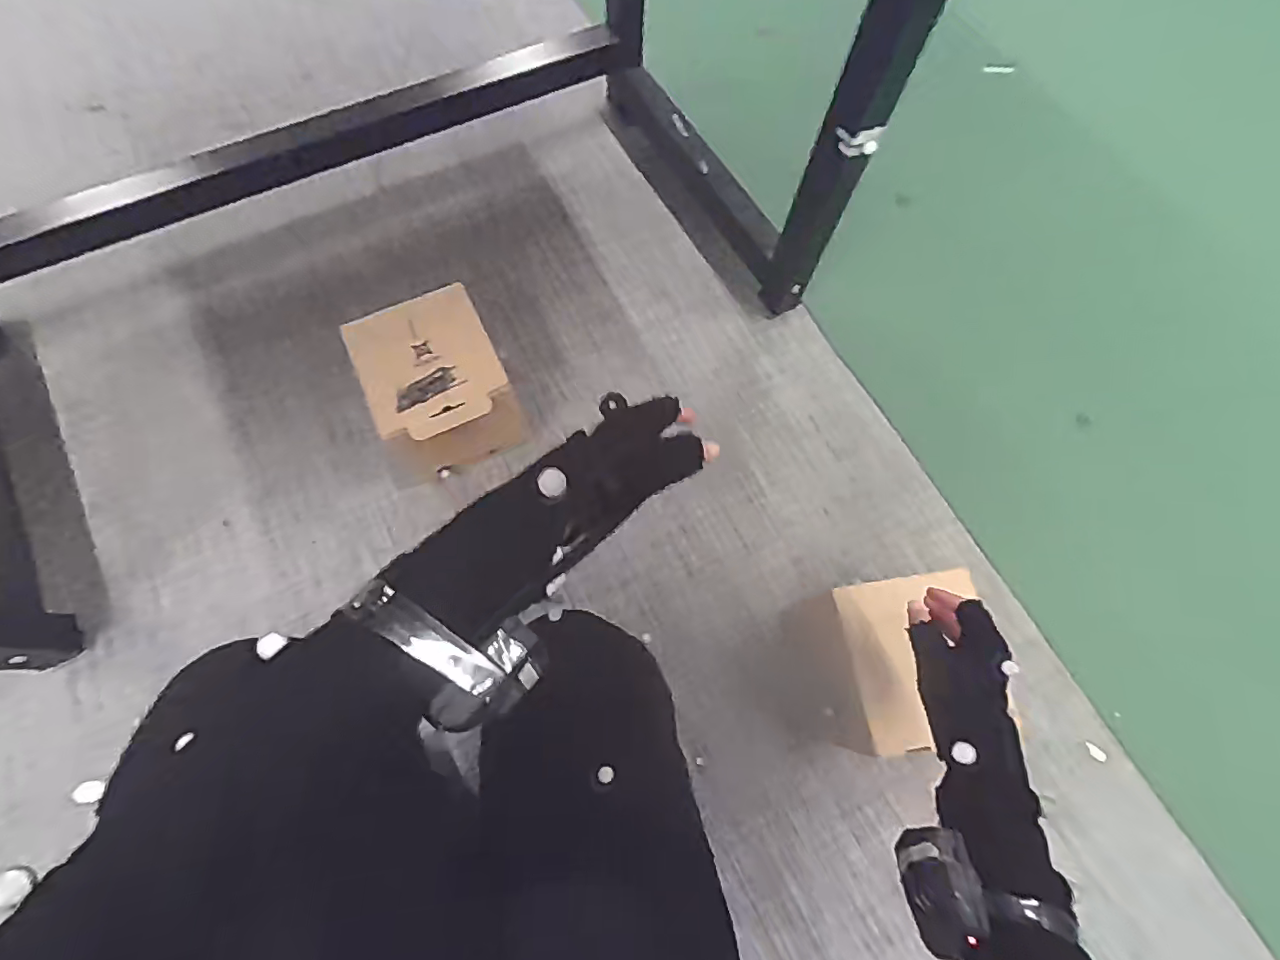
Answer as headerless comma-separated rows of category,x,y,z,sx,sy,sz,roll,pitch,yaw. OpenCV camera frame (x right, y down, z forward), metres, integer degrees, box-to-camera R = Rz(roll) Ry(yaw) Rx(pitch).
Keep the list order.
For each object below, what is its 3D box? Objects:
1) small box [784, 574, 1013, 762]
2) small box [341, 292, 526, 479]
small box,0.295,0.223,0.660,0.168,0.176,0.179,-7,71,-7
small box,-0.274,-0.119,0.754,0.168,0.176,0.179,-25,72,-10
